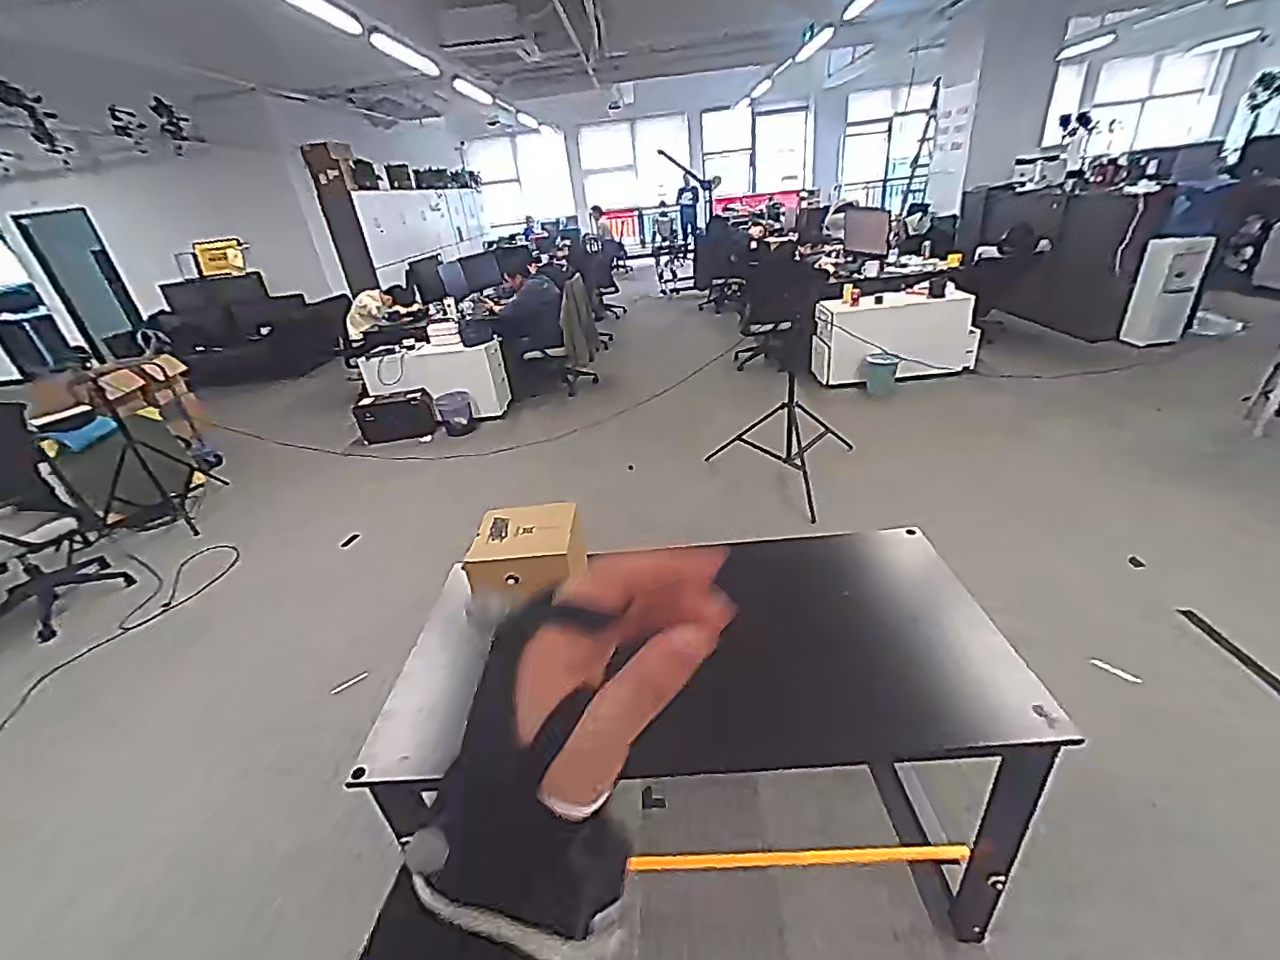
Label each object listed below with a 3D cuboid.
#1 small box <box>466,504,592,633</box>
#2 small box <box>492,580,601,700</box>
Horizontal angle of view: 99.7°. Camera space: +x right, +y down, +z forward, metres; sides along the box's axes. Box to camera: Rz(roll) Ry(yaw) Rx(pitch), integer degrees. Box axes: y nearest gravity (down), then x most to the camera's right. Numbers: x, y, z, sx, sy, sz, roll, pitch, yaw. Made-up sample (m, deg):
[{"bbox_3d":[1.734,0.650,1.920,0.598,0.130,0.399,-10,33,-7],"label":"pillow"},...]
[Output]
[{"bbox_3d":[-0.192,0.162,0.989,0.179,0.176,0.168,-6,28,3],"label":"small box"},{"bbox_3d":[-0.174,0.306,1.068,0.168,0.176,0.179,-6,29,4],"label":"small box"}]
